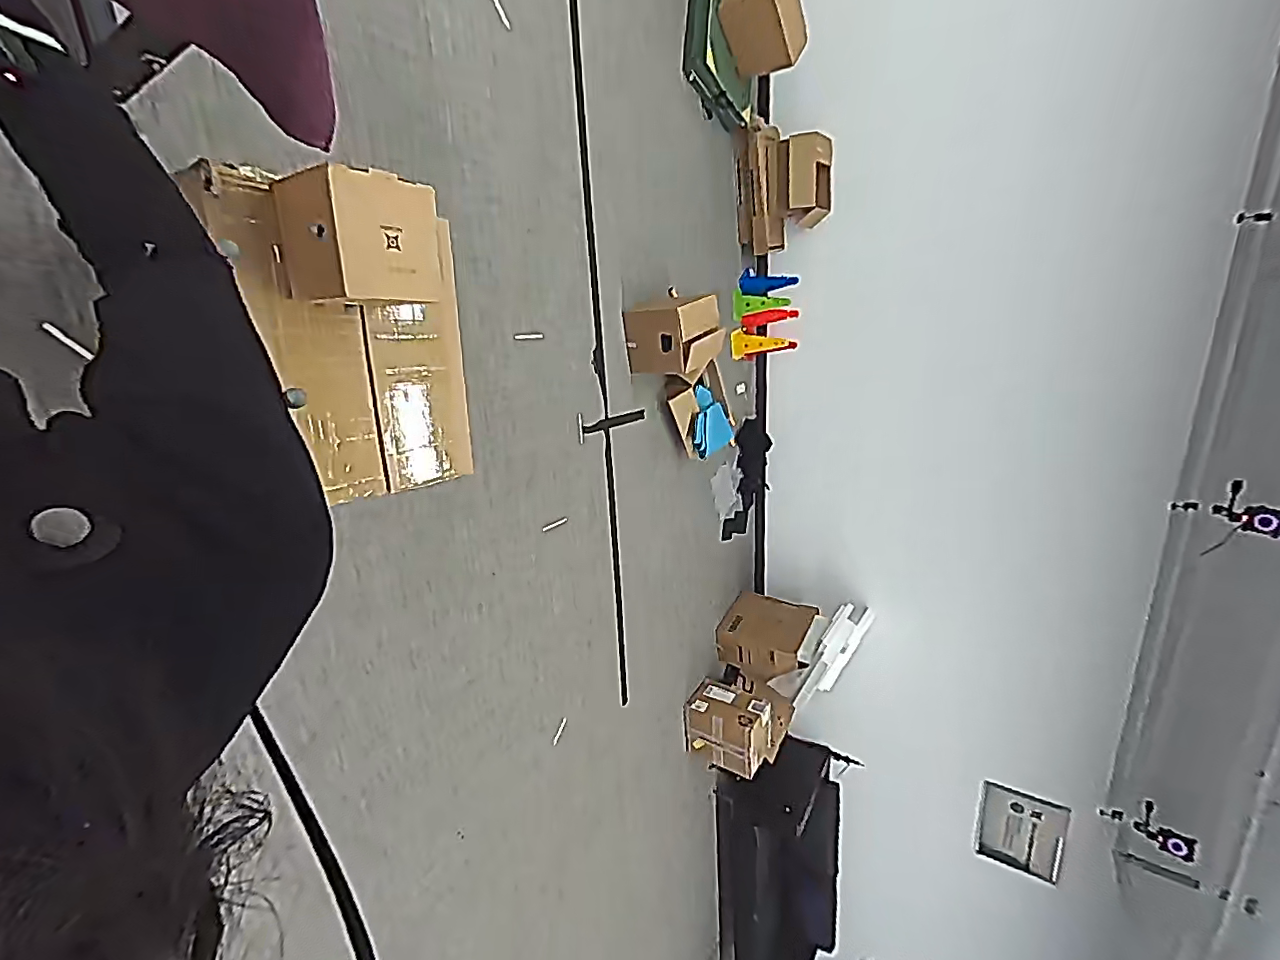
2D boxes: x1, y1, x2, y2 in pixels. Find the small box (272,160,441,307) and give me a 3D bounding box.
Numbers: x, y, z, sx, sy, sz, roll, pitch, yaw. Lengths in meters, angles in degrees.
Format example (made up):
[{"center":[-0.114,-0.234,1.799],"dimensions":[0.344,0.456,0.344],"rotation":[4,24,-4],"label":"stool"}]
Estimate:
[{"center":[-0.439,-0.368,0.841],"dimensions":[0.168,0.176,0.179],"rotation":[-21,115,-52],"label":"small box"}]
